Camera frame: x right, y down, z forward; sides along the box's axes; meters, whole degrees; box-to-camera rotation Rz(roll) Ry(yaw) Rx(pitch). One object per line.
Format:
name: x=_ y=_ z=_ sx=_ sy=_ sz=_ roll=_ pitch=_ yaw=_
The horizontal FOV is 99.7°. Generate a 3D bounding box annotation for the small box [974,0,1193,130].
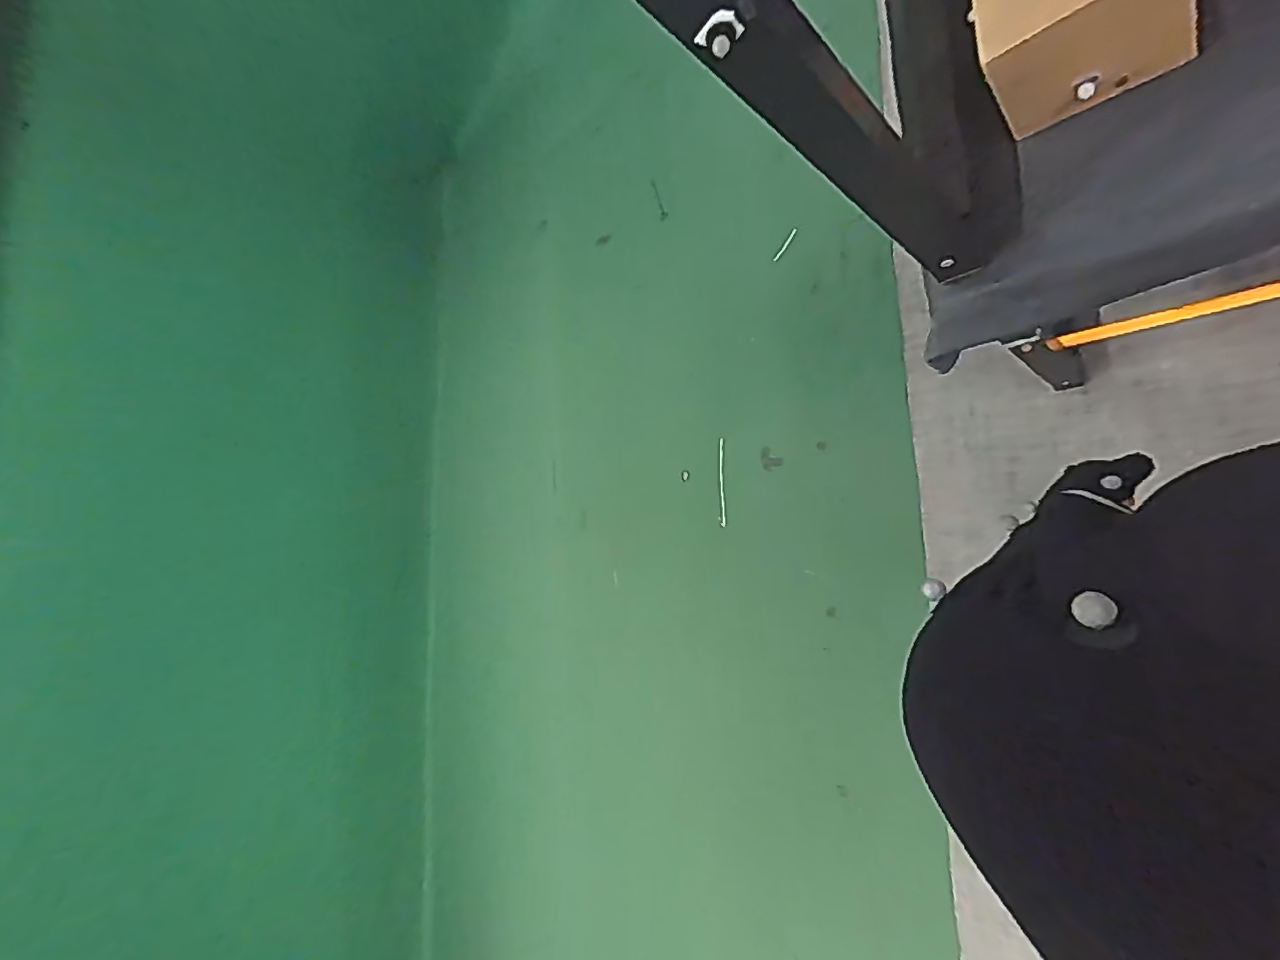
small box: x=0.484 y=-0.544 z=0.597 sx=0.168 sy=0.176 sz=0.179 roll=-9 pitch=80 yaw=46
